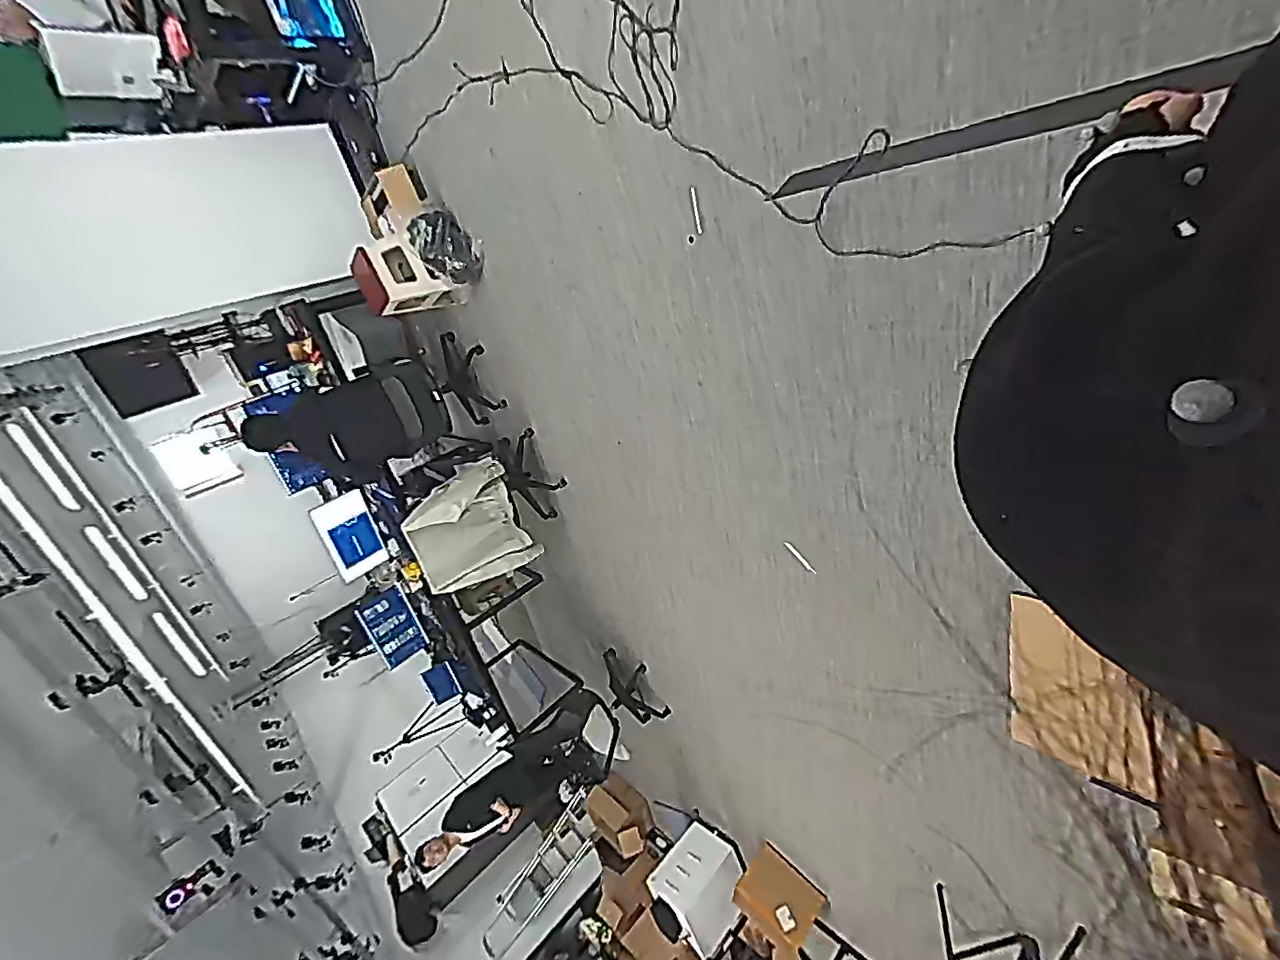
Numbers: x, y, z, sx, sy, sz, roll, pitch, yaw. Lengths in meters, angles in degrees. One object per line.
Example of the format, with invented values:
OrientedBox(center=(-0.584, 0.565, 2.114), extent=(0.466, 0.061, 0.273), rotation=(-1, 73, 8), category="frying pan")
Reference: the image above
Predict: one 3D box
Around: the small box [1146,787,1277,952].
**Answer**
OrientedBox(center=(1.163, 0.782, 1.103), extent=(0.168, 0.176, 0.179), rotation=(7, 121, 50), category="small box")

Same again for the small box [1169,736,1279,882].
OrientedBox(center=(1.287, 0.711, 1.186), extent=(0.168, 0.176, 0.179), rotation=(6, 122, 50), category="small box")

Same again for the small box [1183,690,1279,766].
OrientedBox(center=(1.402, 0.635, 1.276), extent=(0.168, 0.176, 0.179), rotation=(8, 123, 49), category="small box")
